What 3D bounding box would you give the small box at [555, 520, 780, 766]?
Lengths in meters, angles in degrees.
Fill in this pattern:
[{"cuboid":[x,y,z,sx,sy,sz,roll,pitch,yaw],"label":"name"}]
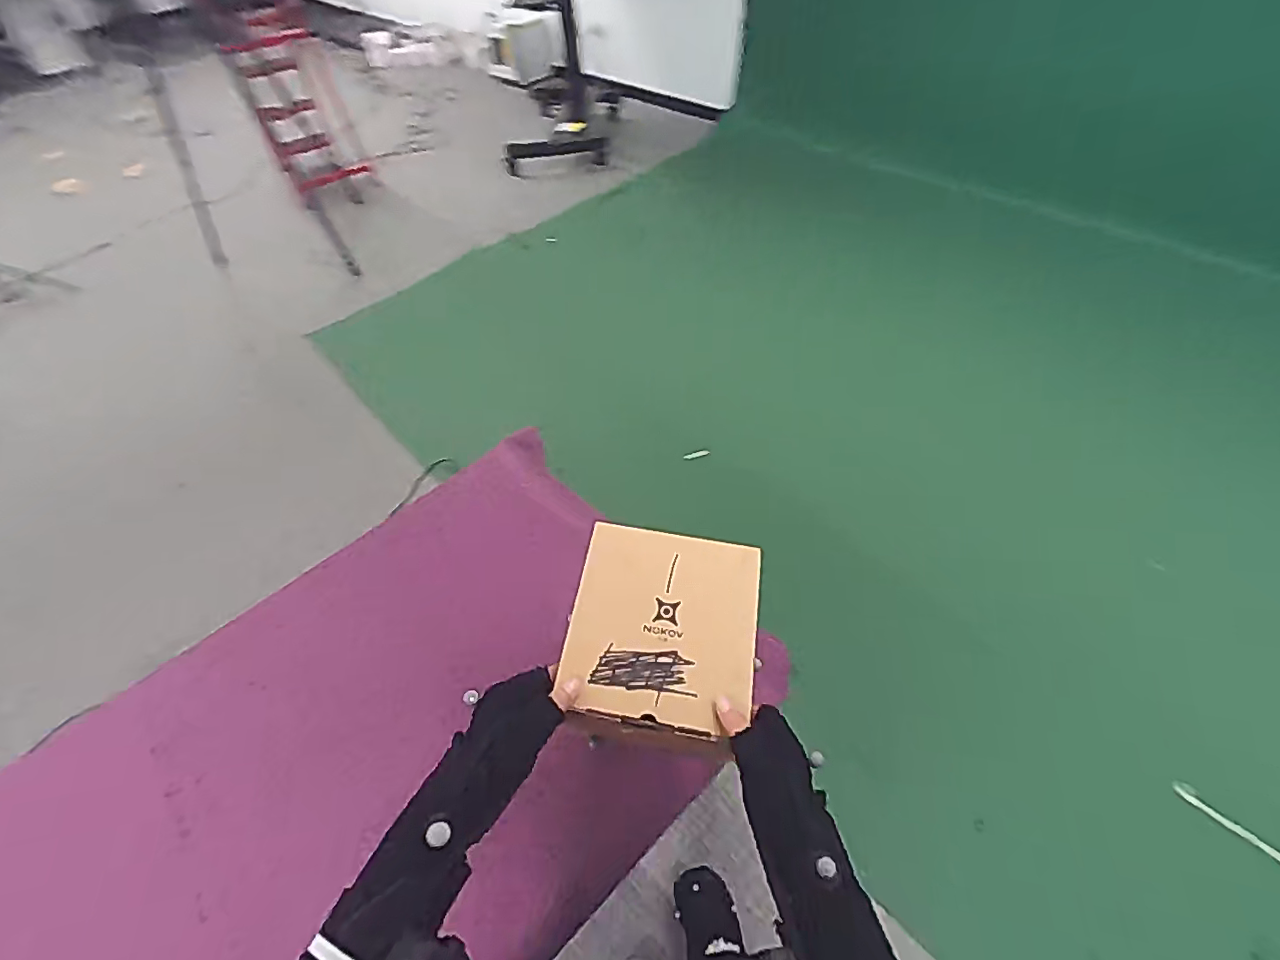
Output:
[{"cuboid":[0.028,0.169,0.539,0.168,0.176,0.179,14,59,5],"label":"small box"}]
